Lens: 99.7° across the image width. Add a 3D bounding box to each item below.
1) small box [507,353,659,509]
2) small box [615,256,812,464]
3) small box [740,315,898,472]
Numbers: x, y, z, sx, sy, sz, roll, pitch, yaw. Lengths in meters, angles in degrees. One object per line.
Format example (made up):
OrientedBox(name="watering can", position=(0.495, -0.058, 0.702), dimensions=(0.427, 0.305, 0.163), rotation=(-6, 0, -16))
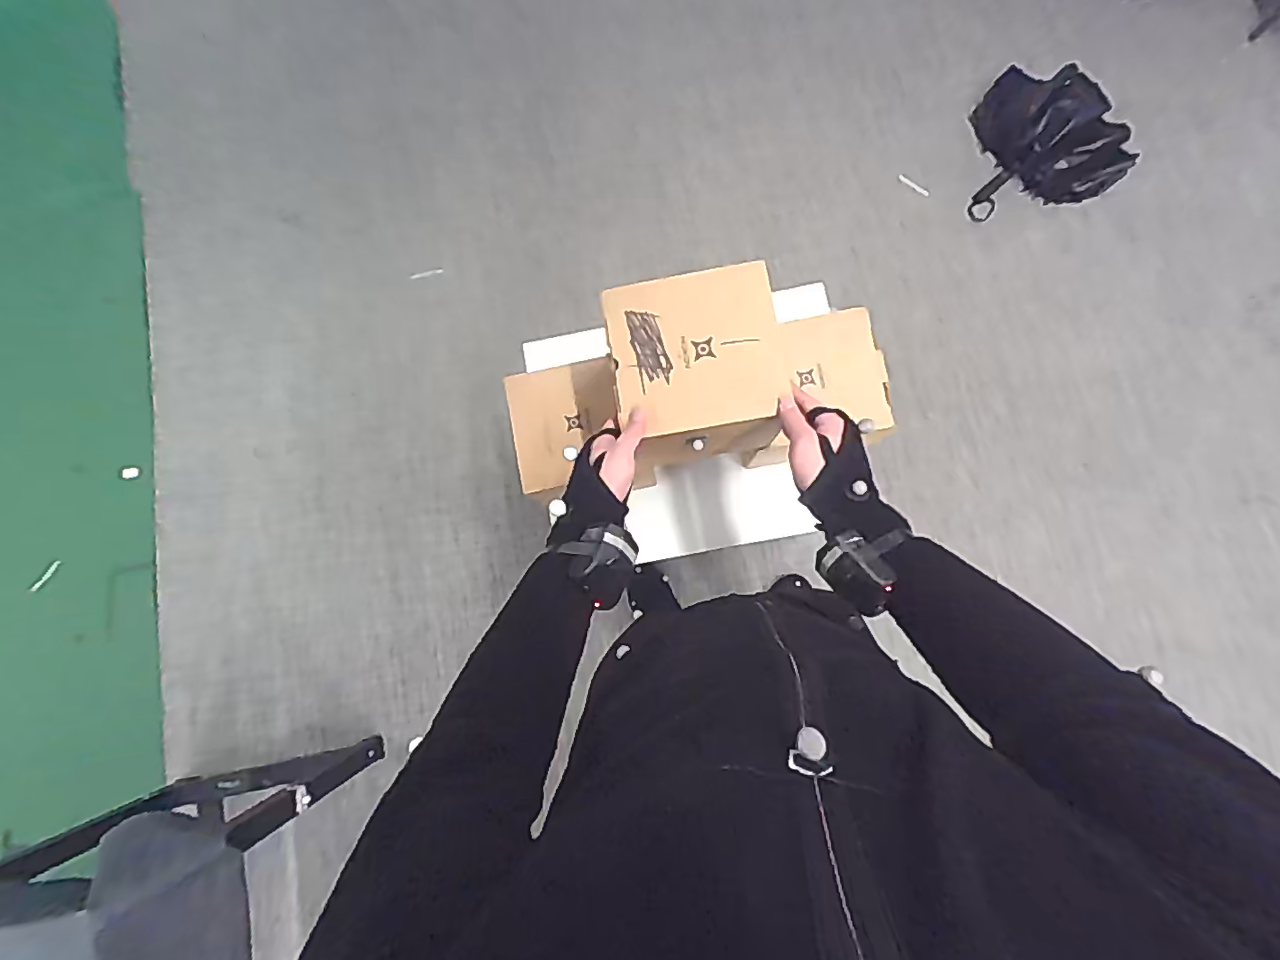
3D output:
OrientedBox(name="small box", position=(-0.074, -0.061, 0.775), dimensions=(0.179, 0.176, 0.168), rotation=(-12, 79, 0))
OrientedBox(name="small box", position=(0.074, -0.122, 0.614), dimensions=(0.179, 0.176, 0.168), rotation=(-9, 80, 0))
OrientedBox(name="small box", position=(0.234, -0.114, 0.775), dimensions=(0.179, 0.176, 0.168), rotation=(-9, 80, 1))
